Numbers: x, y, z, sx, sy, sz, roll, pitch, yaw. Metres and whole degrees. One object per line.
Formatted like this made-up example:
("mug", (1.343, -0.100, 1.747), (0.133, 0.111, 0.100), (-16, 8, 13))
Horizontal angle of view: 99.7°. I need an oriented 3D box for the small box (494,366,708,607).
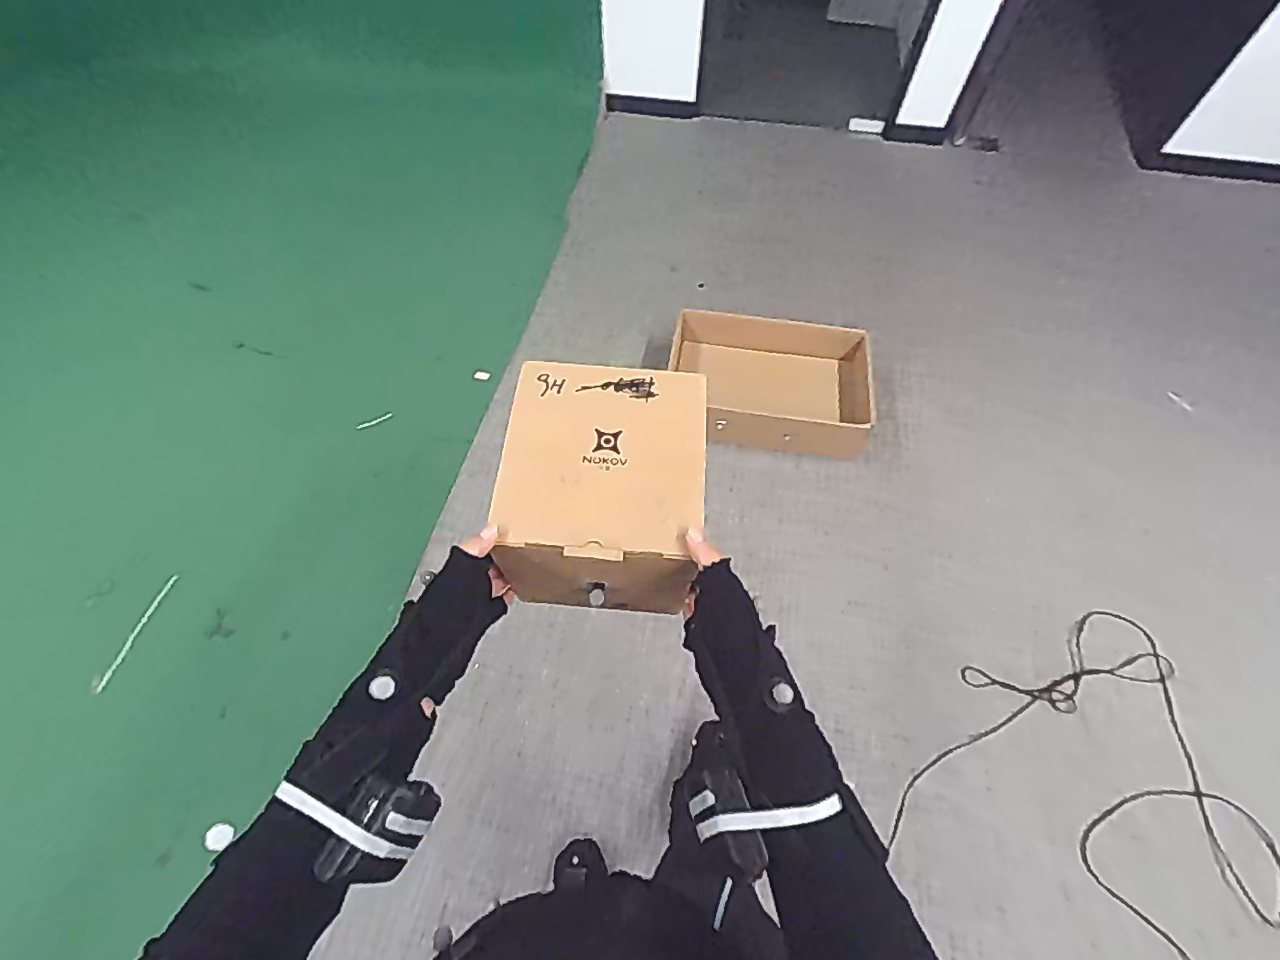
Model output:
("small box", (-0.026, 0.016, 0.512), (0.168, 0.176, 0.179), (2, 62, 0))
